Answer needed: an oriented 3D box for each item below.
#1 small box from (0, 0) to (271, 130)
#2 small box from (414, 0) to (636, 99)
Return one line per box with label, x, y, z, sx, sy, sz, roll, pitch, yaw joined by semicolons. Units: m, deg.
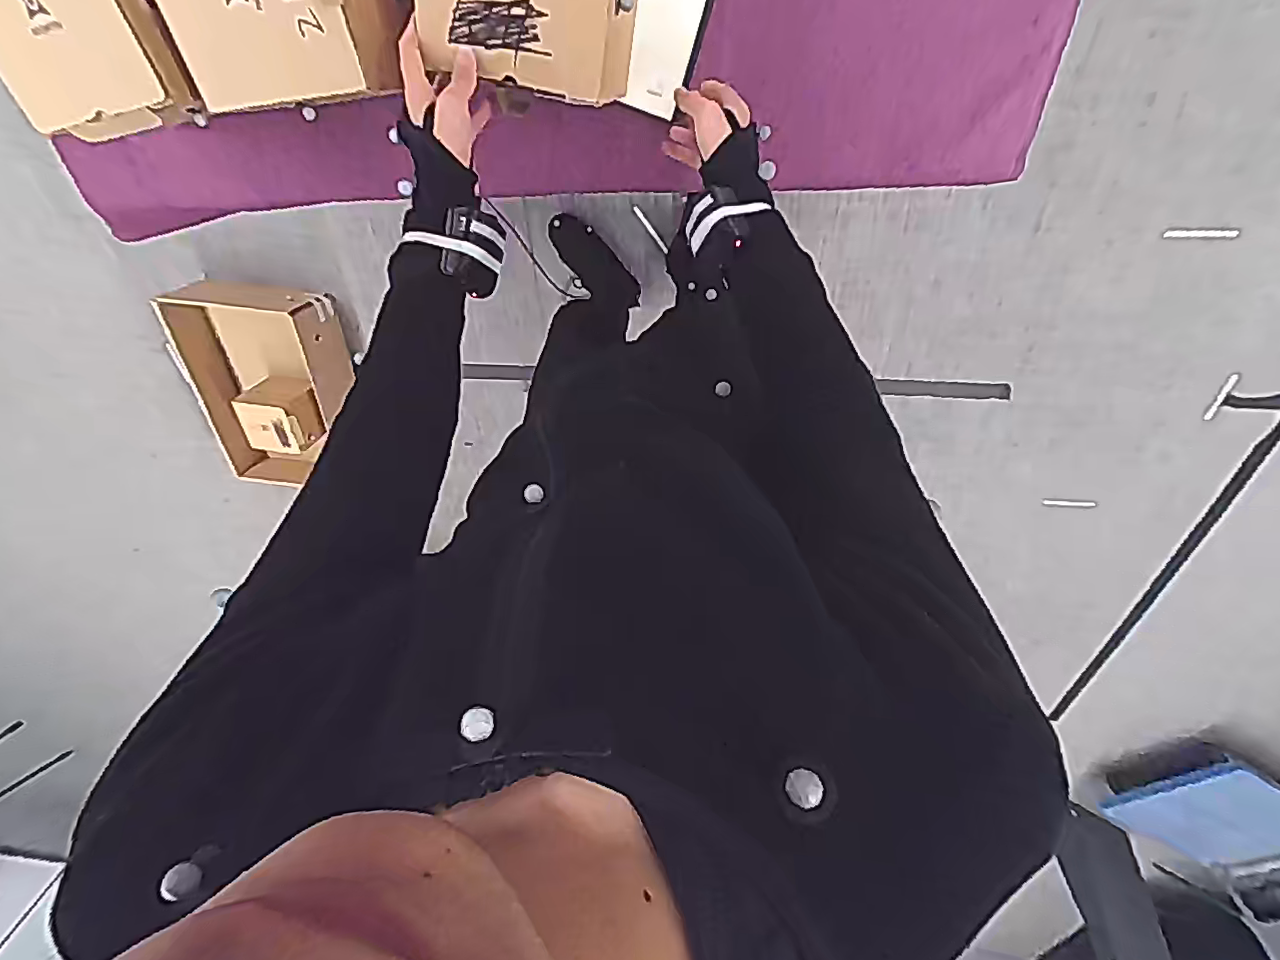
small box;-0.535;-0.482;0.554;0.168;0.176;0.179;-4;126;11
small box;-0.090;-0.469;0.486;0.168;0.176;0.179;12;129;0
